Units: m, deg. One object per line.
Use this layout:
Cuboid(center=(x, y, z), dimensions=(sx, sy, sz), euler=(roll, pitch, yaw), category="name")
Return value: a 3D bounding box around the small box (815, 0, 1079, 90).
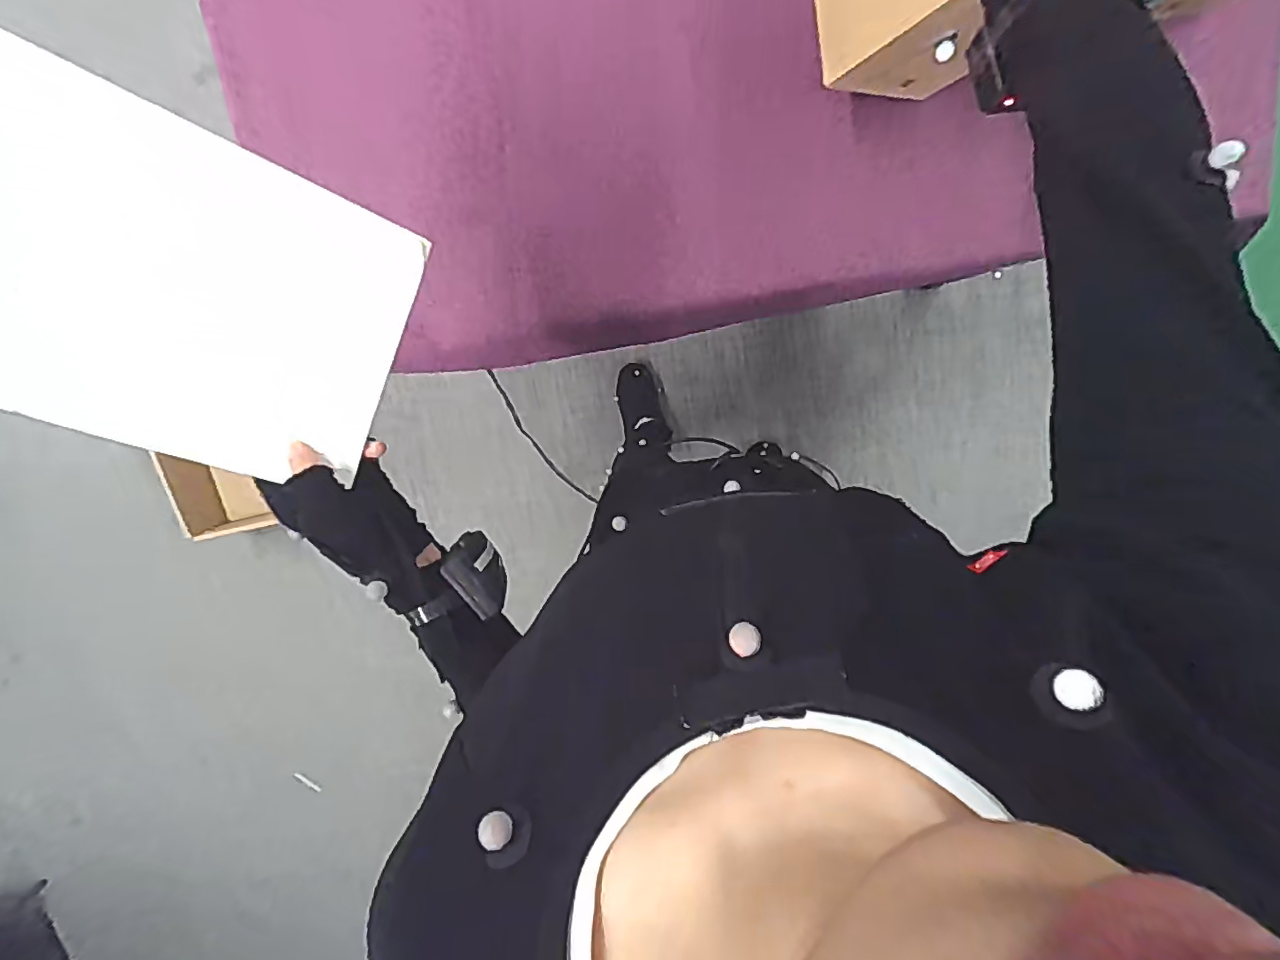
Cuboid(center=(0.280, -0.503, 0.505), dimensions=(0.168, 0.176, 0.179), euler=(-15, 101, -25), category="small box")
